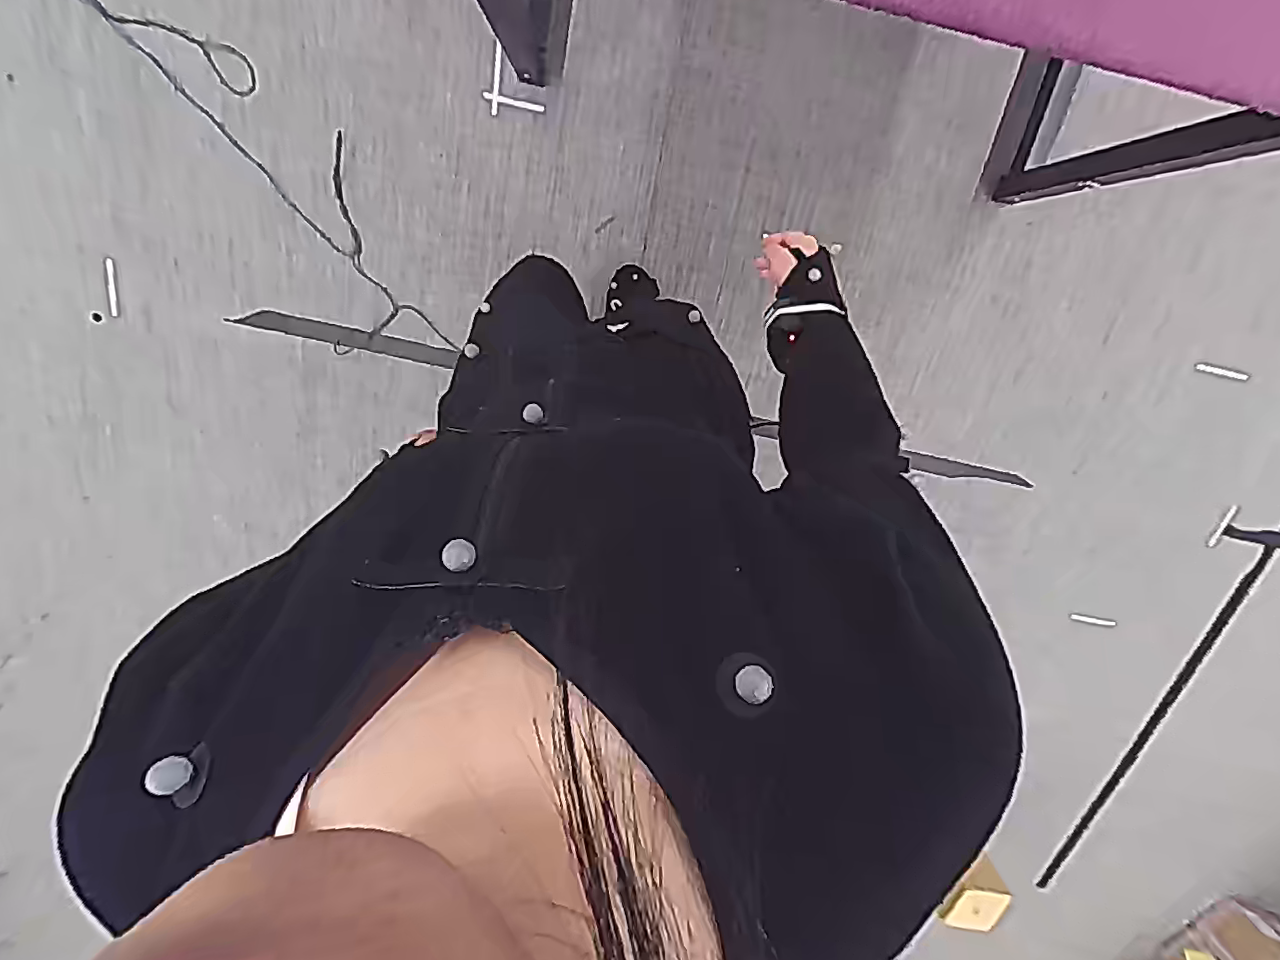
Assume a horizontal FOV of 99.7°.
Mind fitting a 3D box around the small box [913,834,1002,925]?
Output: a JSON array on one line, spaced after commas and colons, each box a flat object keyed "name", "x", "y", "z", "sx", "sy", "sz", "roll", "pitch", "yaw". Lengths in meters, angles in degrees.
[{"name": "small box", "x": 1.050, "y": 1.334, "z": 1.808, "sx": 0.168, "sy": 0.176, "sz": 0.179, "roll": 14, "pitch": 109, "yaw": -8}]

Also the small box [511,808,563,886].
[{"name": "small box", "x": -0.370, "y": 1.313, "z": 1.940, "sx": 0.168, "sy": 0.176, "sz": 0.179, "roll": 7, "pitch": 111, "yaw": -3}]
